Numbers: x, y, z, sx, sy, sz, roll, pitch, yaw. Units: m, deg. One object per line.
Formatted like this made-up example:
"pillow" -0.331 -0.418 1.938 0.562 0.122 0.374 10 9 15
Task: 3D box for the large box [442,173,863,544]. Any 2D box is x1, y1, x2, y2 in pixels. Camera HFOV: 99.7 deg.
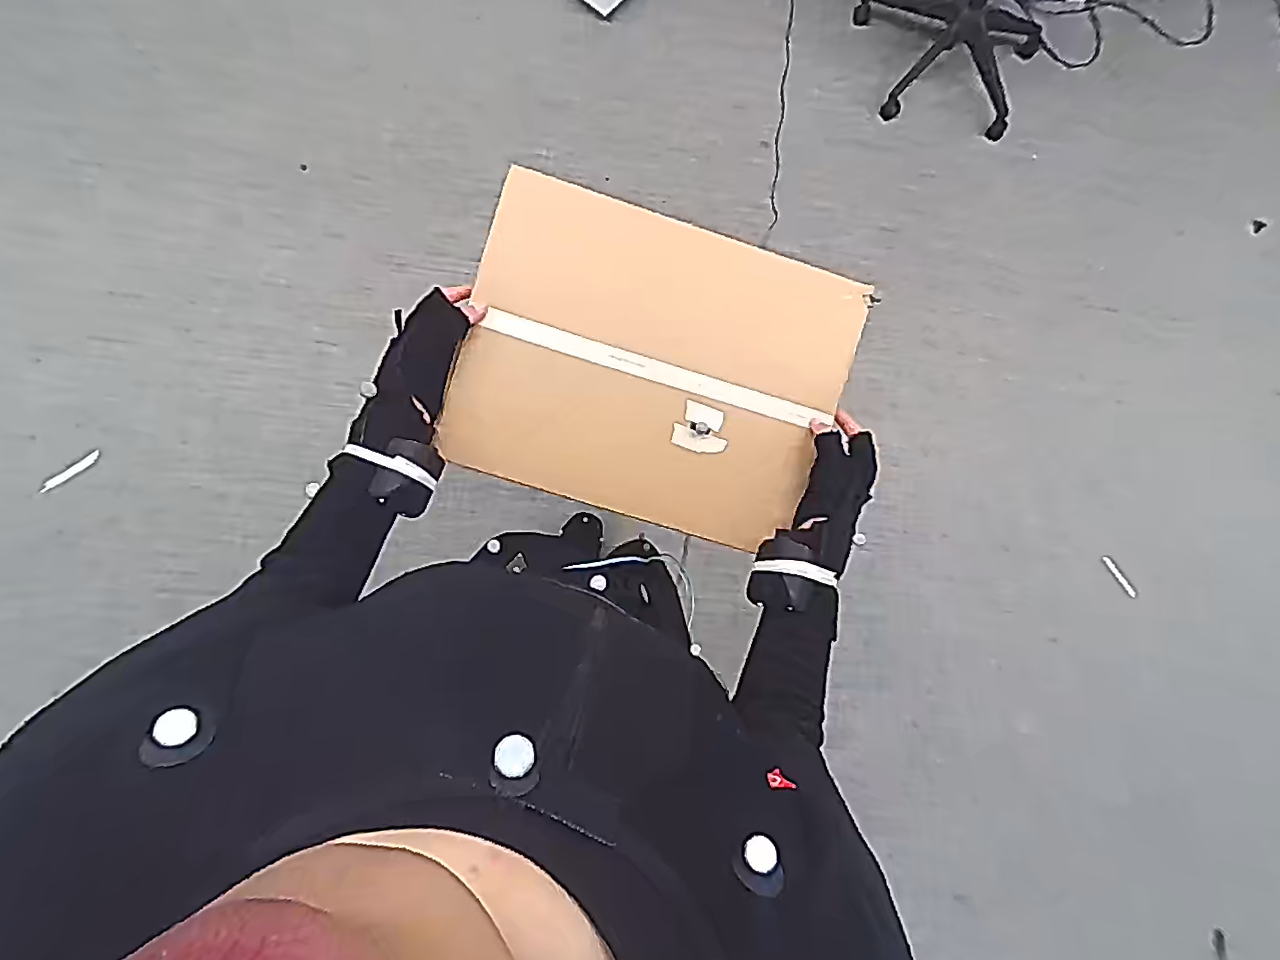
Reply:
"large box" 0.006 -0.135 0.737 0.408 0.320 0.320 17 93 -5
